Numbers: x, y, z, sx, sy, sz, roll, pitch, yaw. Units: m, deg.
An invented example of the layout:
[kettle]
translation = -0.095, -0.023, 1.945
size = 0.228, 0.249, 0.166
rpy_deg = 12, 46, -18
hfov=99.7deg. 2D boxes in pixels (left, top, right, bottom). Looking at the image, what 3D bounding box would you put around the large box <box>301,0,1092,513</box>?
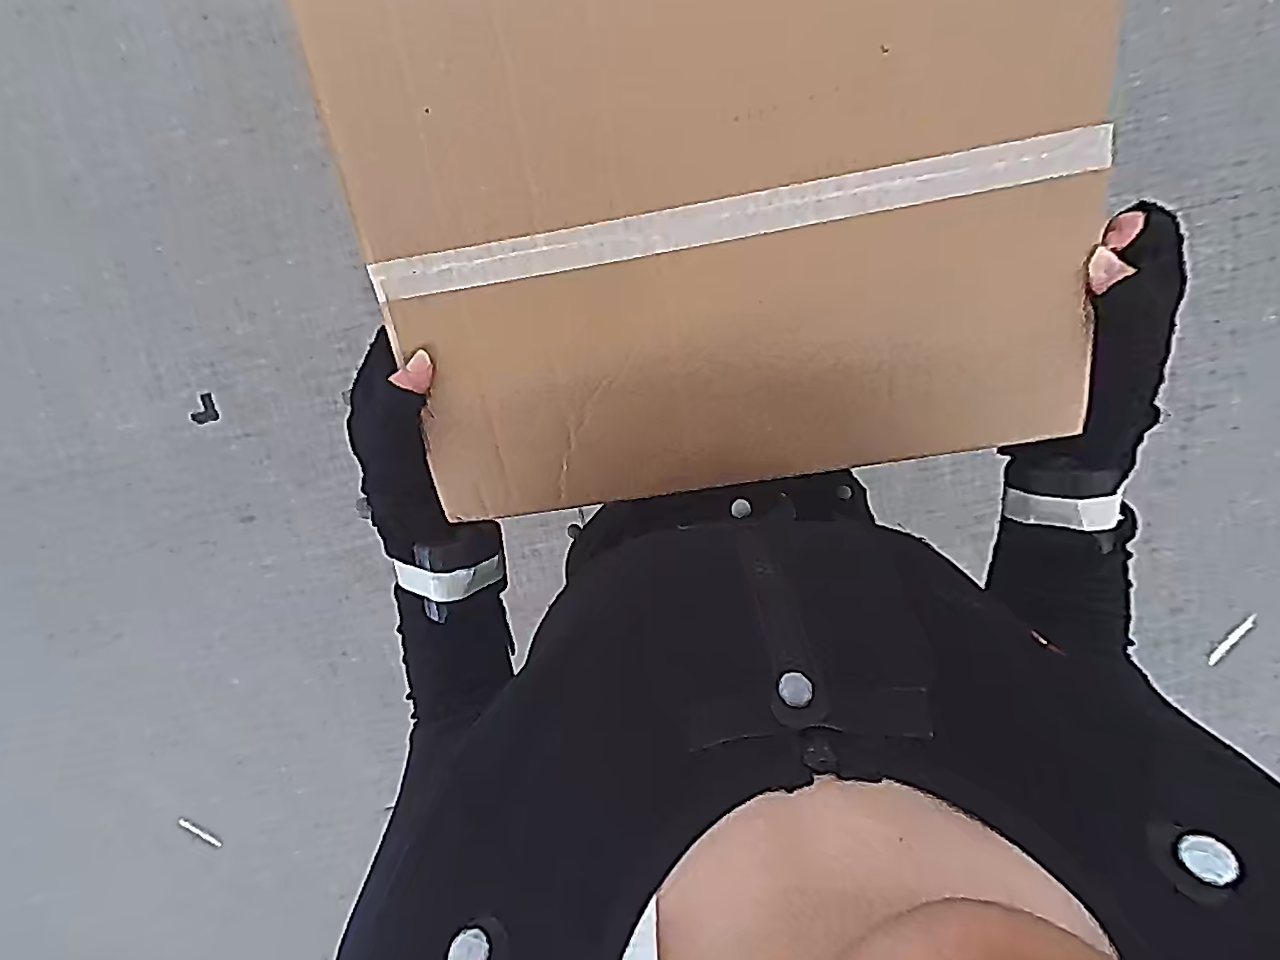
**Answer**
[large box]
translation = 0.048, -0.200, 0.450
size = 0.408, 0.320, 0.320
rpy_deg = -8, 108, 5
